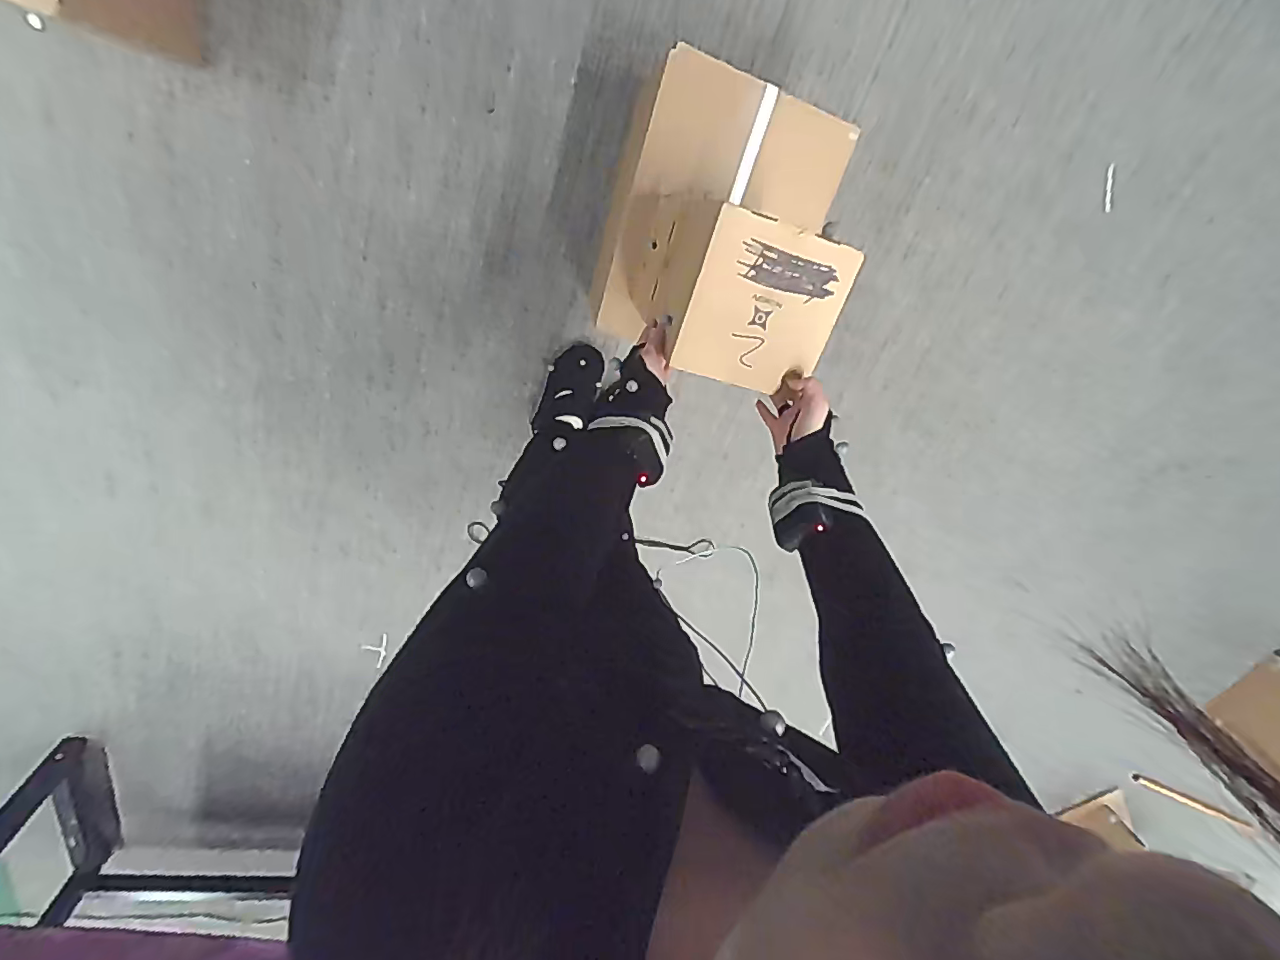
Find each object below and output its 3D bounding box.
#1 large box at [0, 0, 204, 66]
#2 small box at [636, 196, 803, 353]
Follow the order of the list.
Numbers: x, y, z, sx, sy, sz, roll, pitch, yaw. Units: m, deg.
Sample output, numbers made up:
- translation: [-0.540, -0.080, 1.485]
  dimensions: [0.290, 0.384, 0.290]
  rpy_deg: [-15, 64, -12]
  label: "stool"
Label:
- translation: [-0.796, -0.824, 0.658]
  dimensions: [0.320, 0.320, 0.408]
  rpy_deg: [13, 114, -15]
  label: "large box"
- translation: [0.103, -0.307, 0.796]
  dimensions: [0.179, 0.176, 0.168]
  rpy_deg: [12, 116, -12]
  label: "small box"
